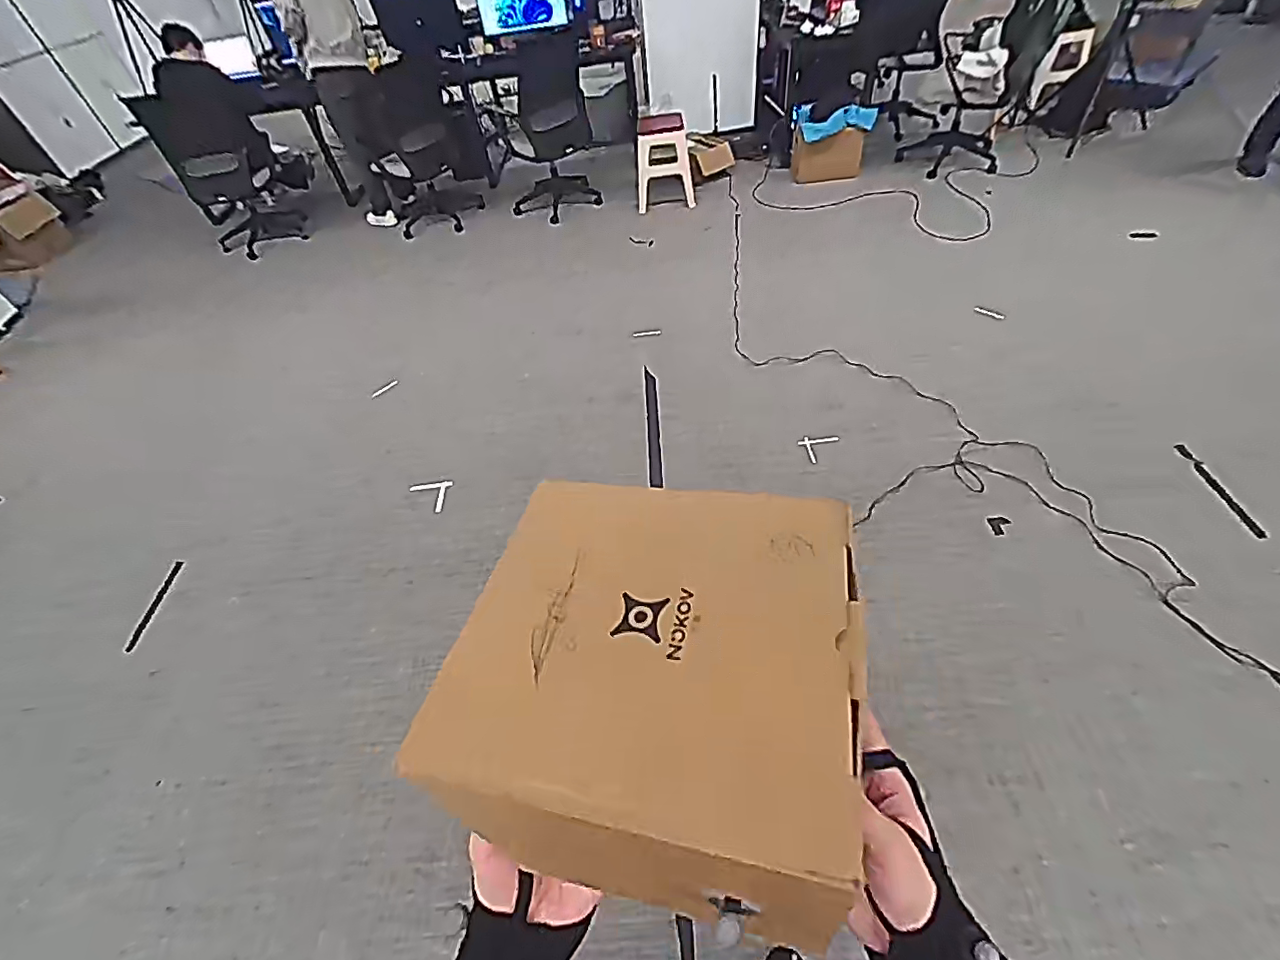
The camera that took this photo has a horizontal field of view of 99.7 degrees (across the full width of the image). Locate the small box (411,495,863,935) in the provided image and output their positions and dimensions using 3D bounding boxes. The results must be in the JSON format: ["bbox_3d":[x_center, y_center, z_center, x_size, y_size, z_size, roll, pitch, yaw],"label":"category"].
[{"bbox_3d":[0.019,0.128,0.306,0.179,0.176,0.168,2,45,16],"label":"small box"}]
